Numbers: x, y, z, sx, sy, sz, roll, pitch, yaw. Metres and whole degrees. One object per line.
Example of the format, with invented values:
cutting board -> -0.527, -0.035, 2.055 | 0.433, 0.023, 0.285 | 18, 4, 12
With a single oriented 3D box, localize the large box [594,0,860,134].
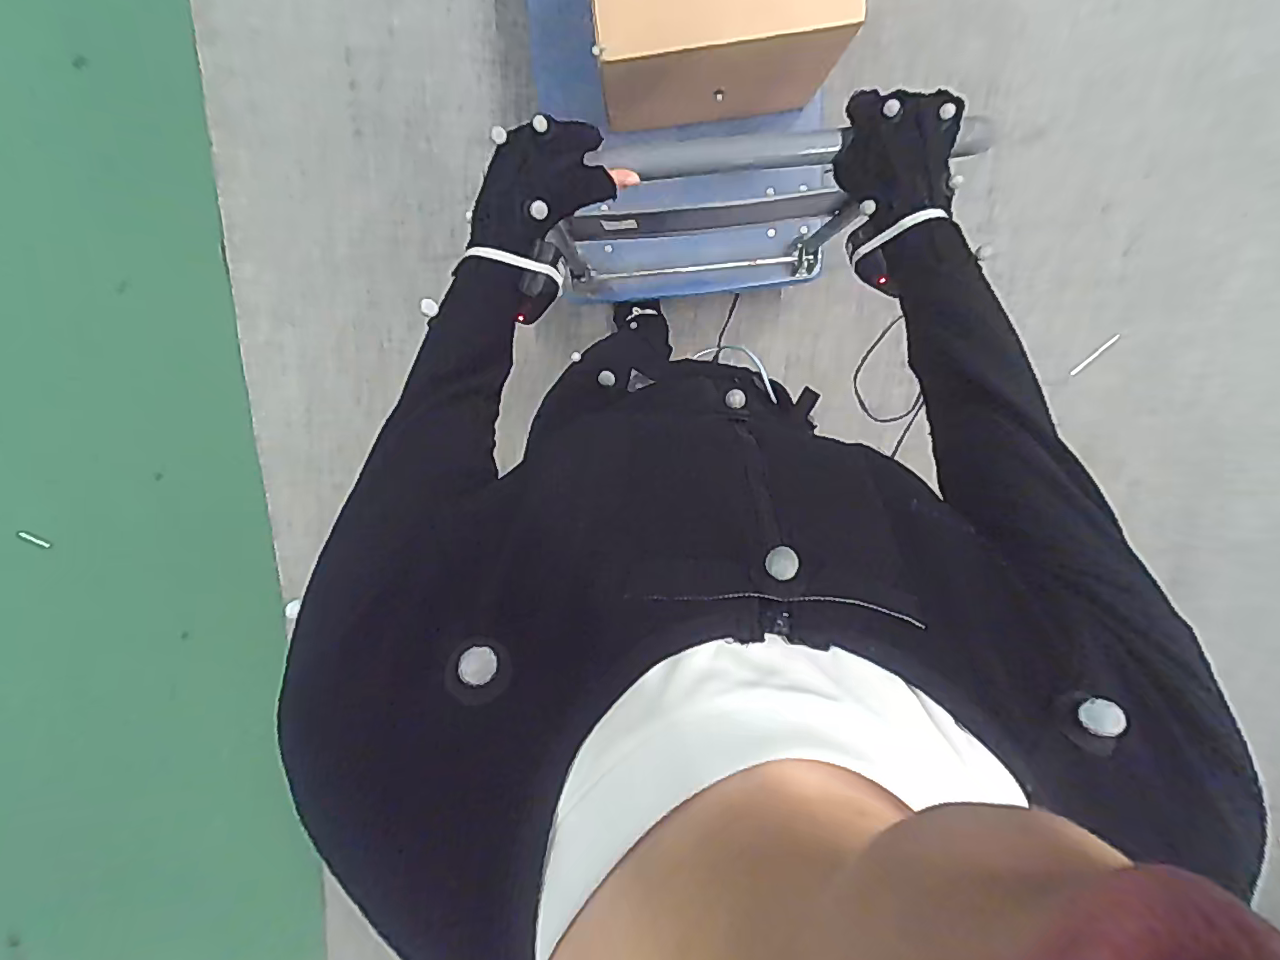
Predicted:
large box -> 0.124, -0.852, 0.940 | 0.408, 0.320, 0.320 | -7, 104, 4
